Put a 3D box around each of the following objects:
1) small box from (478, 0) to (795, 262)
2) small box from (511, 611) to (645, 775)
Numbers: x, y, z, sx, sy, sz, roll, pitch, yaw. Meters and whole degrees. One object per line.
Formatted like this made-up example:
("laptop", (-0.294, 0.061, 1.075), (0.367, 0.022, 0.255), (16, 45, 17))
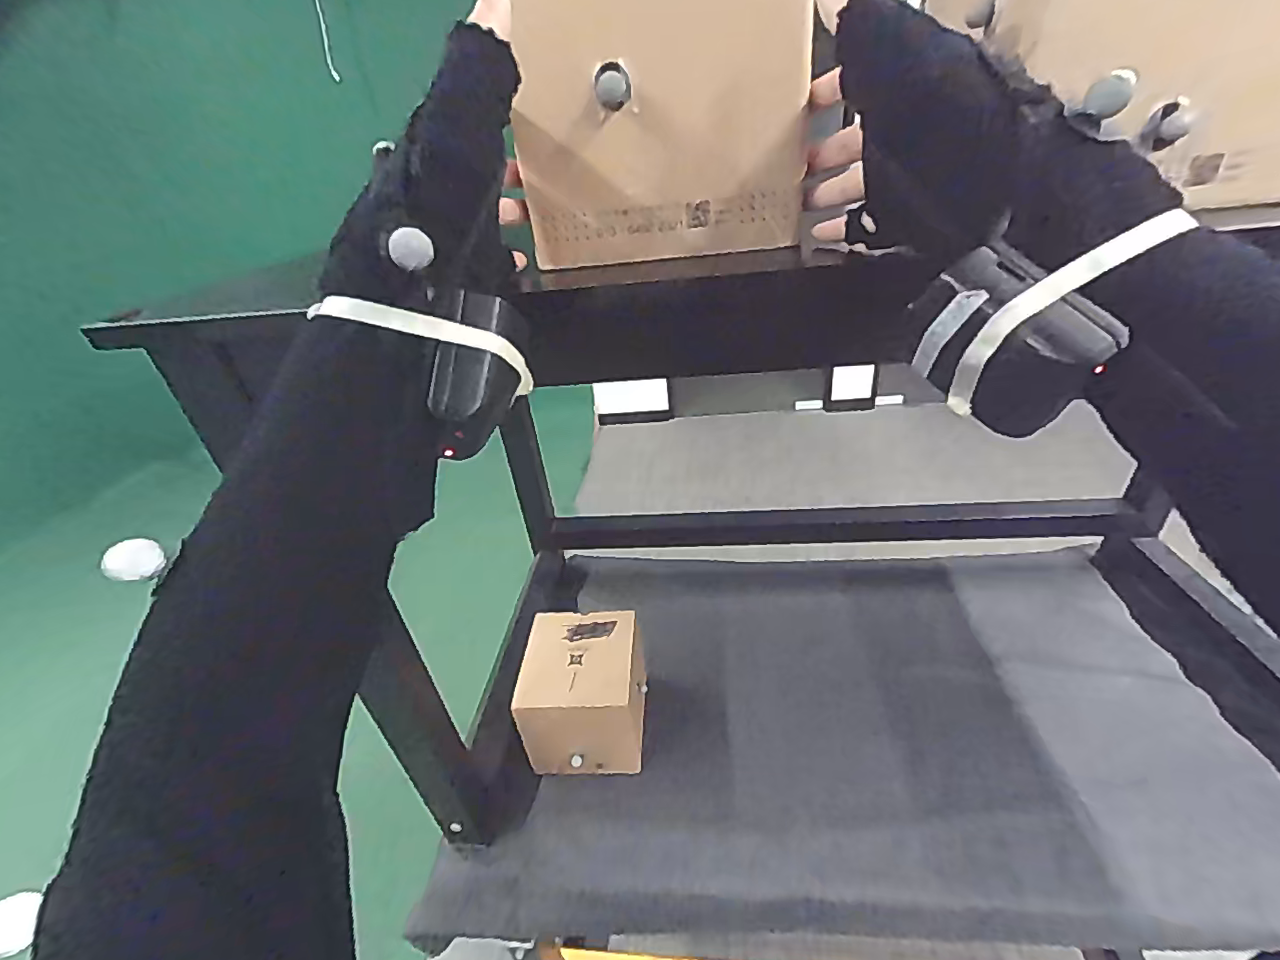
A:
("small box", (0.010, -0.253, 0.368), (0.168, 0.176, 0.179), (-4, 31, 7))
("small box", (-0.084, 0.327, 0.842), (0.168, 0.176, 0.179), (-4, 32, 6))
